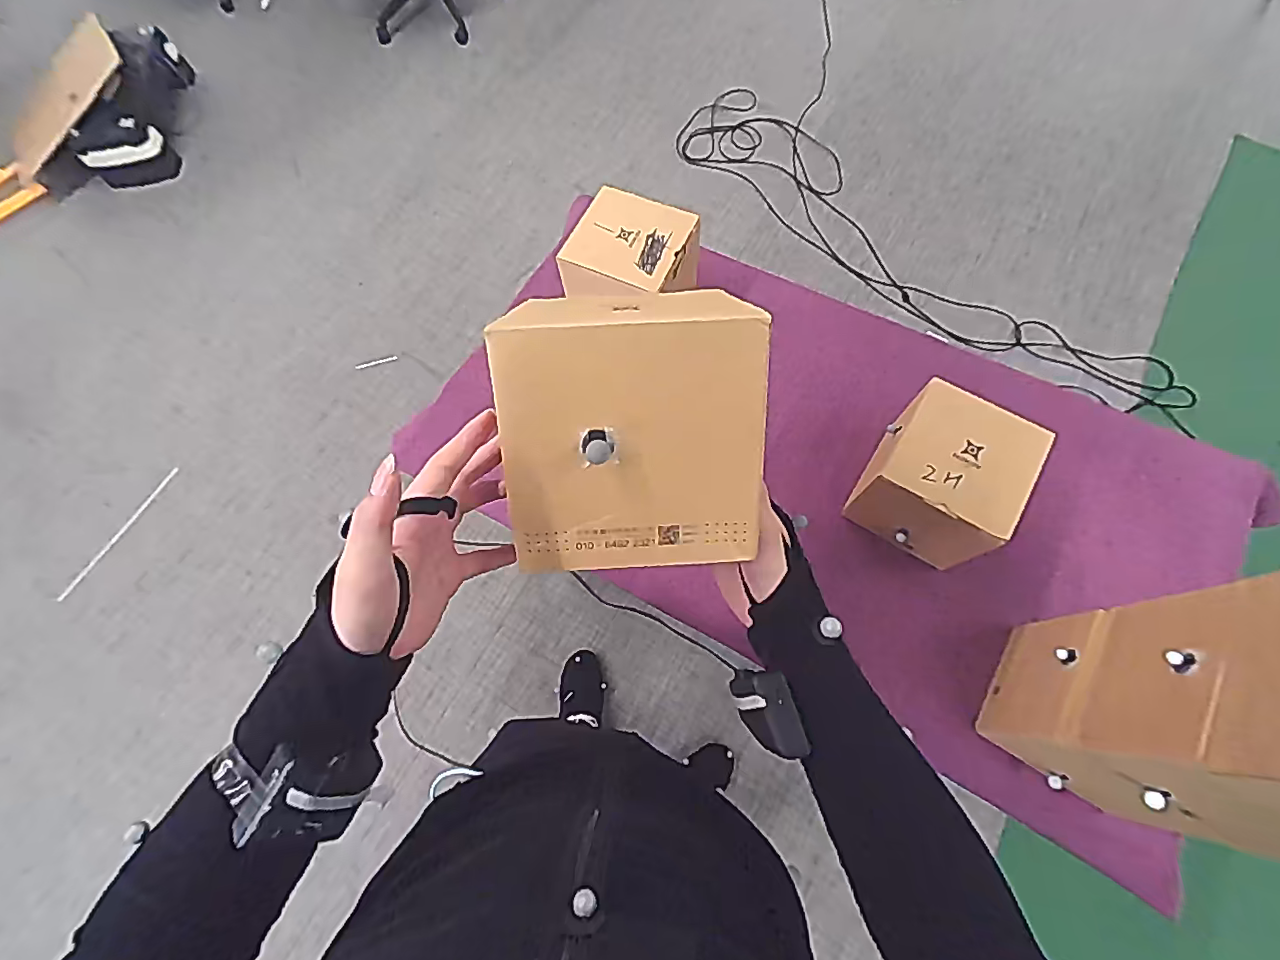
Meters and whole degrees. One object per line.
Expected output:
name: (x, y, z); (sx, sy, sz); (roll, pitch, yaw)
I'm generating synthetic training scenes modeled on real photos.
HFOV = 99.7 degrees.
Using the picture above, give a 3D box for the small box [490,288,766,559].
small box: (-0.005, -0.049, 0.419); (0.168, 0.179, 0.176); (-3, 114, -2)

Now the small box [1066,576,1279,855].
small box: (0.552, 0.220, 0.505); (0.168, 0.176, 0.179); (31, 73, 15)

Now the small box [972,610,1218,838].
small box: (0.555, 0.281, 0.656); (0.179, 0.176, 0.168); (31, 73, 13)

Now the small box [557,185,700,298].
small box: (-0.013, -0.351, 0.918); (0.179, 0.176, 0.168); (24, 72, 11)

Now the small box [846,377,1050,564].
small box: (0.422, -0.006, 0.771); (0.168, 0.176, 0.179); (32, 74, 14)
